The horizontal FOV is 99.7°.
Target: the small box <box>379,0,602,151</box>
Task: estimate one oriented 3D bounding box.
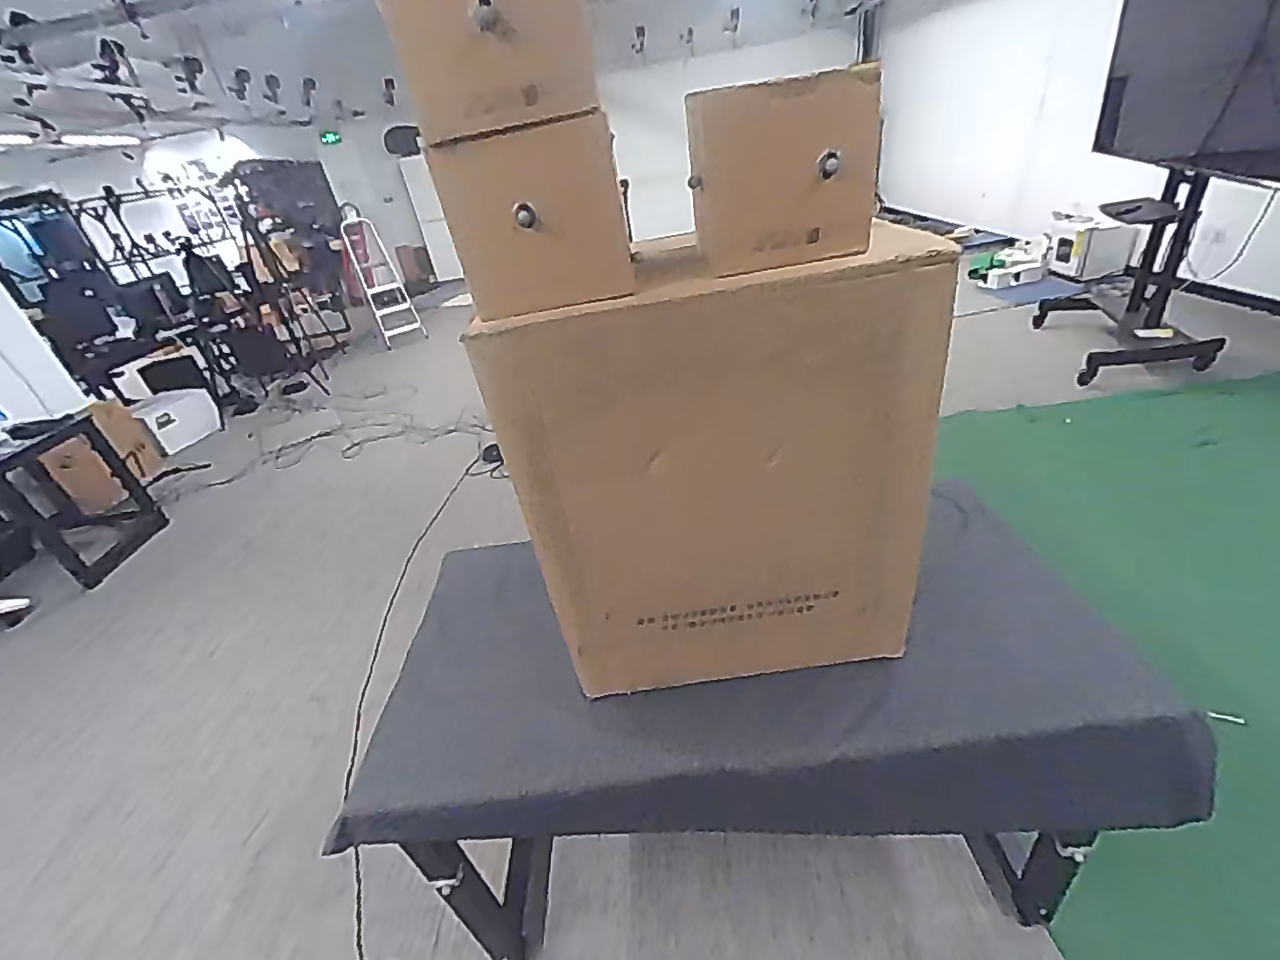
[{"bbox_3d":[-0.133,-0.424,0.517,0.168,0.176,0.179,-11,34,1],"label":"small box"}]

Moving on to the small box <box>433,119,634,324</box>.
[{"bbox_3d":[-0.102,-0.291,0.607,0.179,0.176,0.168,-9,34,0],"label":"small box"}]

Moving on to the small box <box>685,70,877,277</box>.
[{"bbox_3d":[0.145,-0.334,0.603,0.168,0.176,0.179,-7,33,3],"label":"small box"}]
